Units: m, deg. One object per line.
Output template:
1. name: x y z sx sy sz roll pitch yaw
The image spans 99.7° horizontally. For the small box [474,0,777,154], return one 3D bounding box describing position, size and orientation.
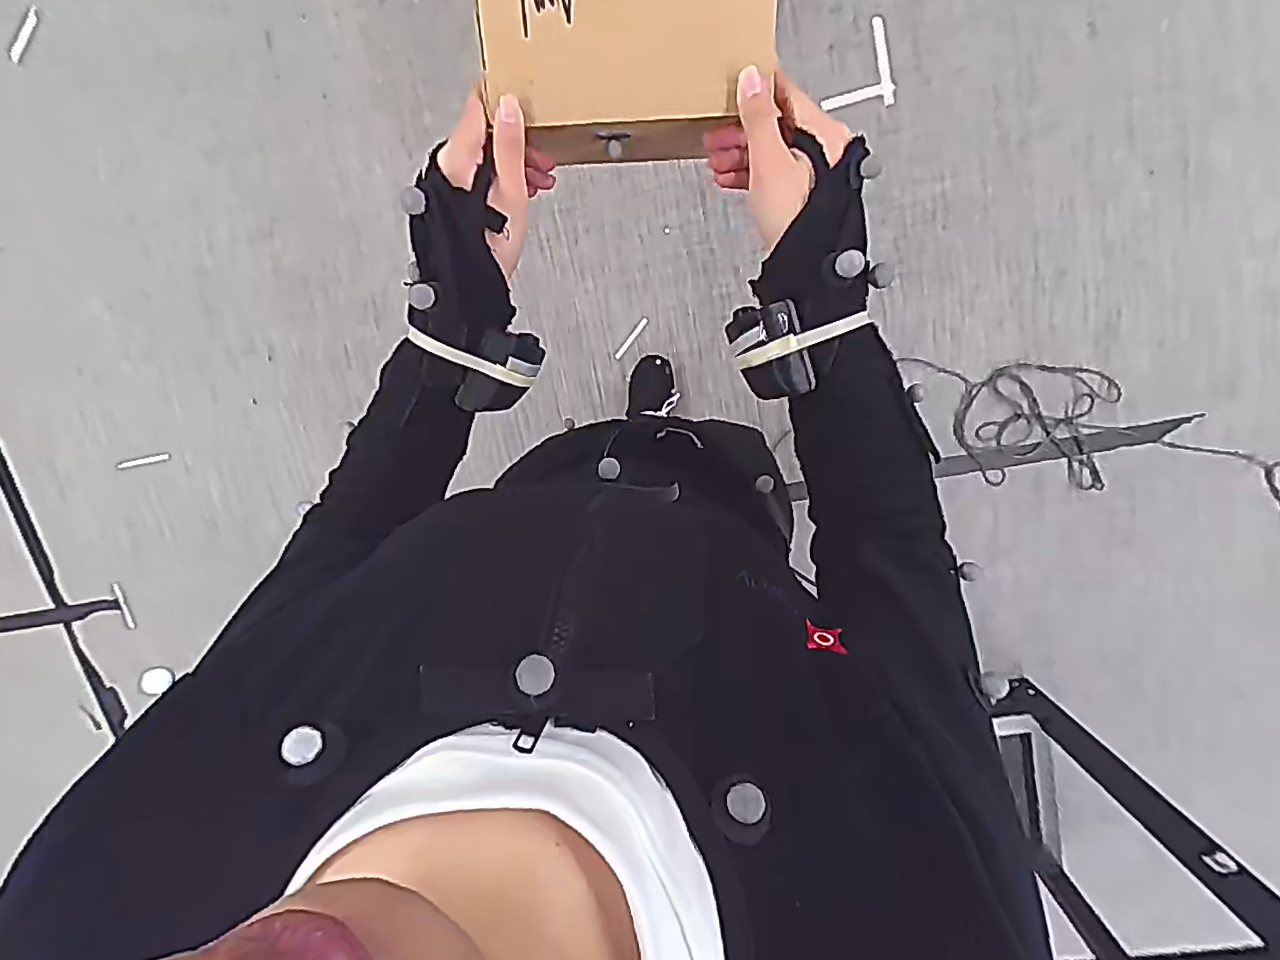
1. small box: -0.007 -0.332 0.370 0.179 0.176 0.168 -2 113 2
